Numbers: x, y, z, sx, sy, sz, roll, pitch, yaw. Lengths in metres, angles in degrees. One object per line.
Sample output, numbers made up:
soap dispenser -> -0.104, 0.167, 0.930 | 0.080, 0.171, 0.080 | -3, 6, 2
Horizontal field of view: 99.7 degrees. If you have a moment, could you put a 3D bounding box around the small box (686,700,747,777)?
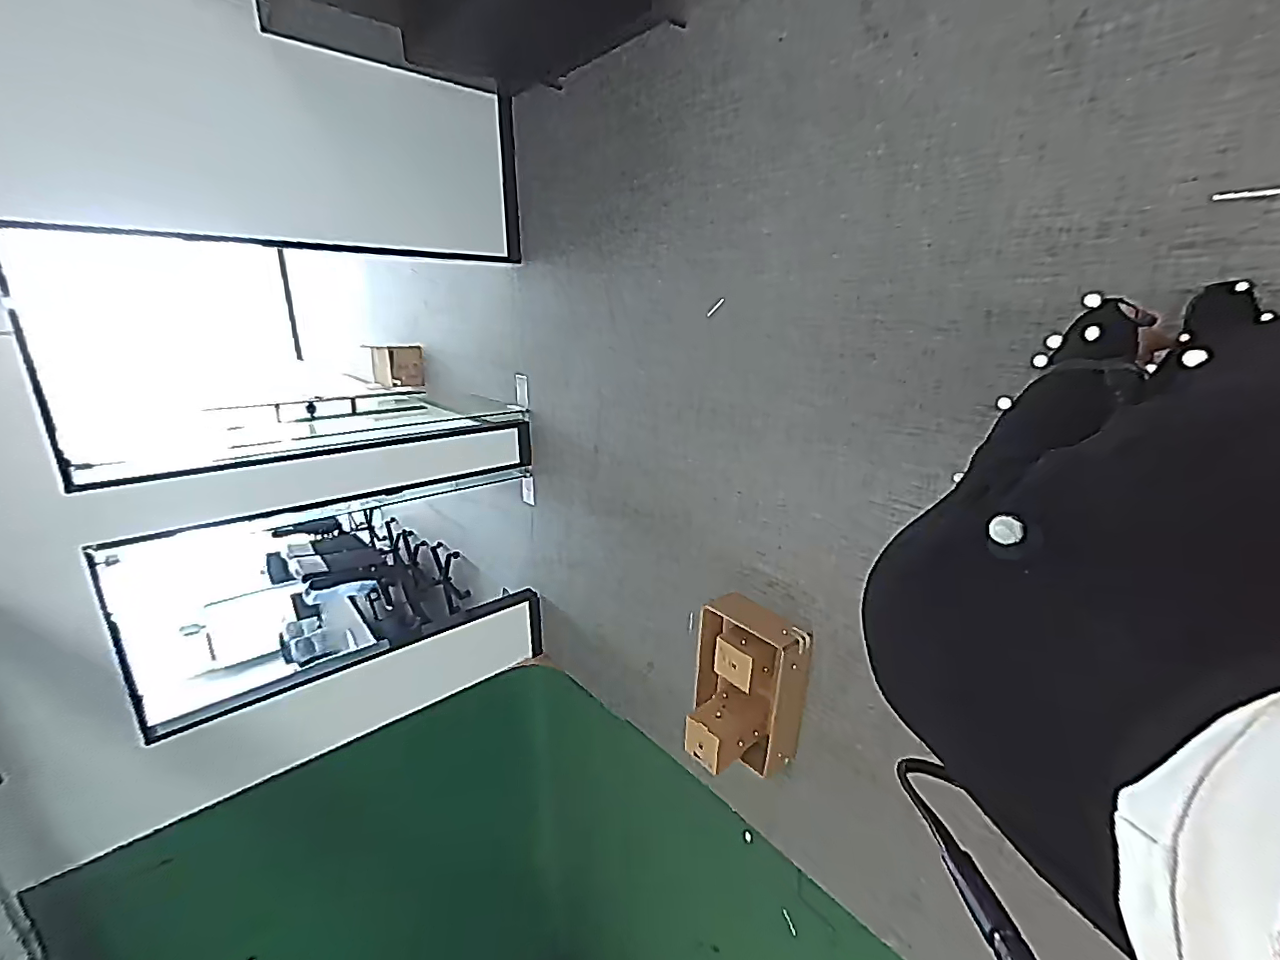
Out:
small box -> 0.299, 0.995, 2.100 | 0.168, 0.176, 0.179 | 21, 115, 46

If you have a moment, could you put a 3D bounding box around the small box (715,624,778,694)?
small box -> 0.419, 0.694, 2.124 | 0.179, 0.176, 0.168 | 23, 118, 45

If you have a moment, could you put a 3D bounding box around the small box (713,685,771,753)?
small box -> 0.414, 0.965, 2.214 | 0.179, 0.176, 0.168 | 21, 116, 46
